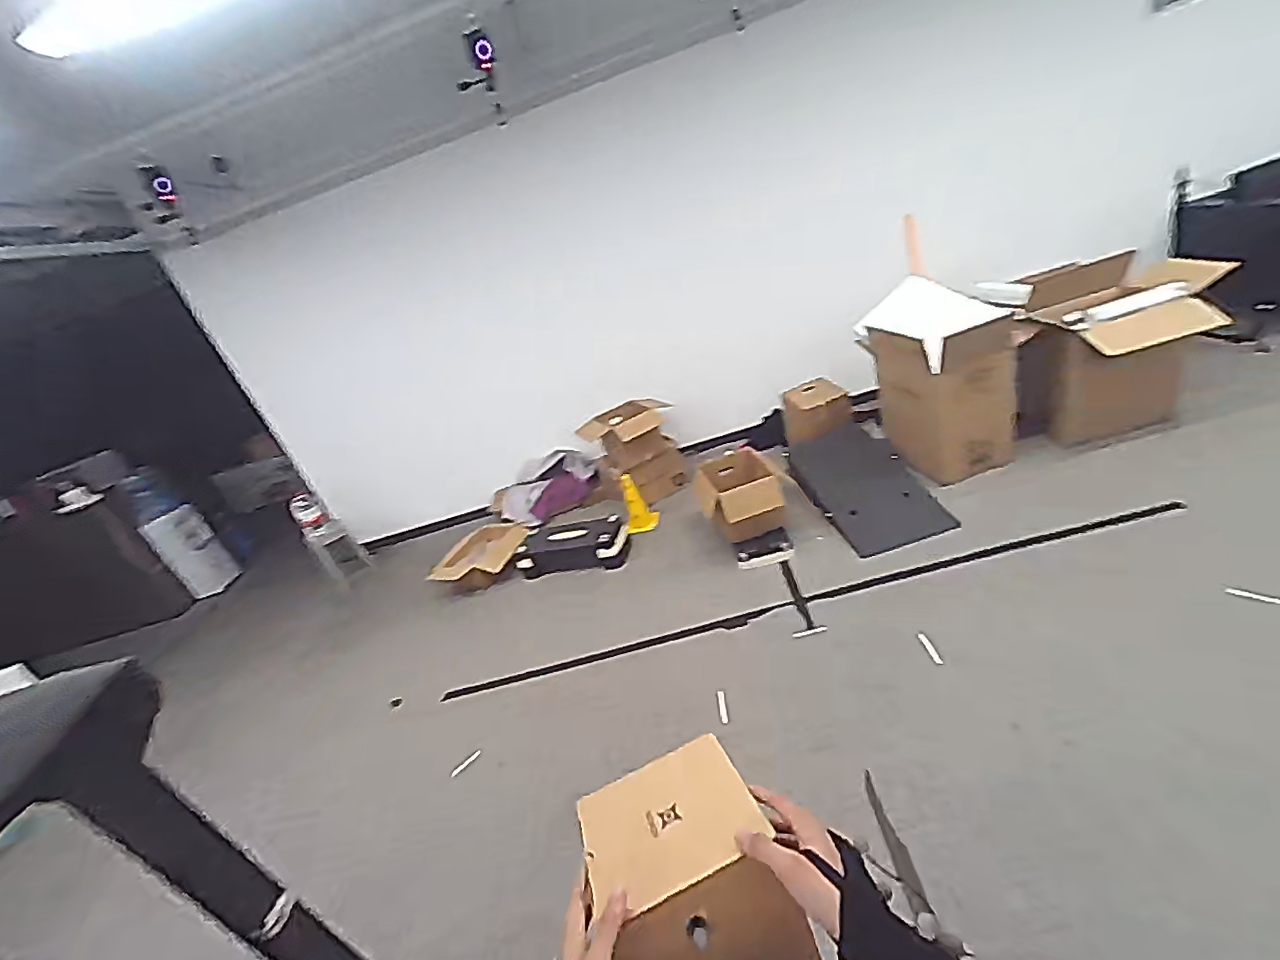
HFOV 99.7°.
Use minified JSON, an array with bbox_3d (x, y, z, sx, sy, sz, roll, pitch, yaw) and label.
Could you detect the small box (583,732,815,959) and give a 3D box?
[{"bbox_3d":[0.059,0.411,0.558,0.179,0.176,0.168,-23,11,-10],"label":"small box"}]
